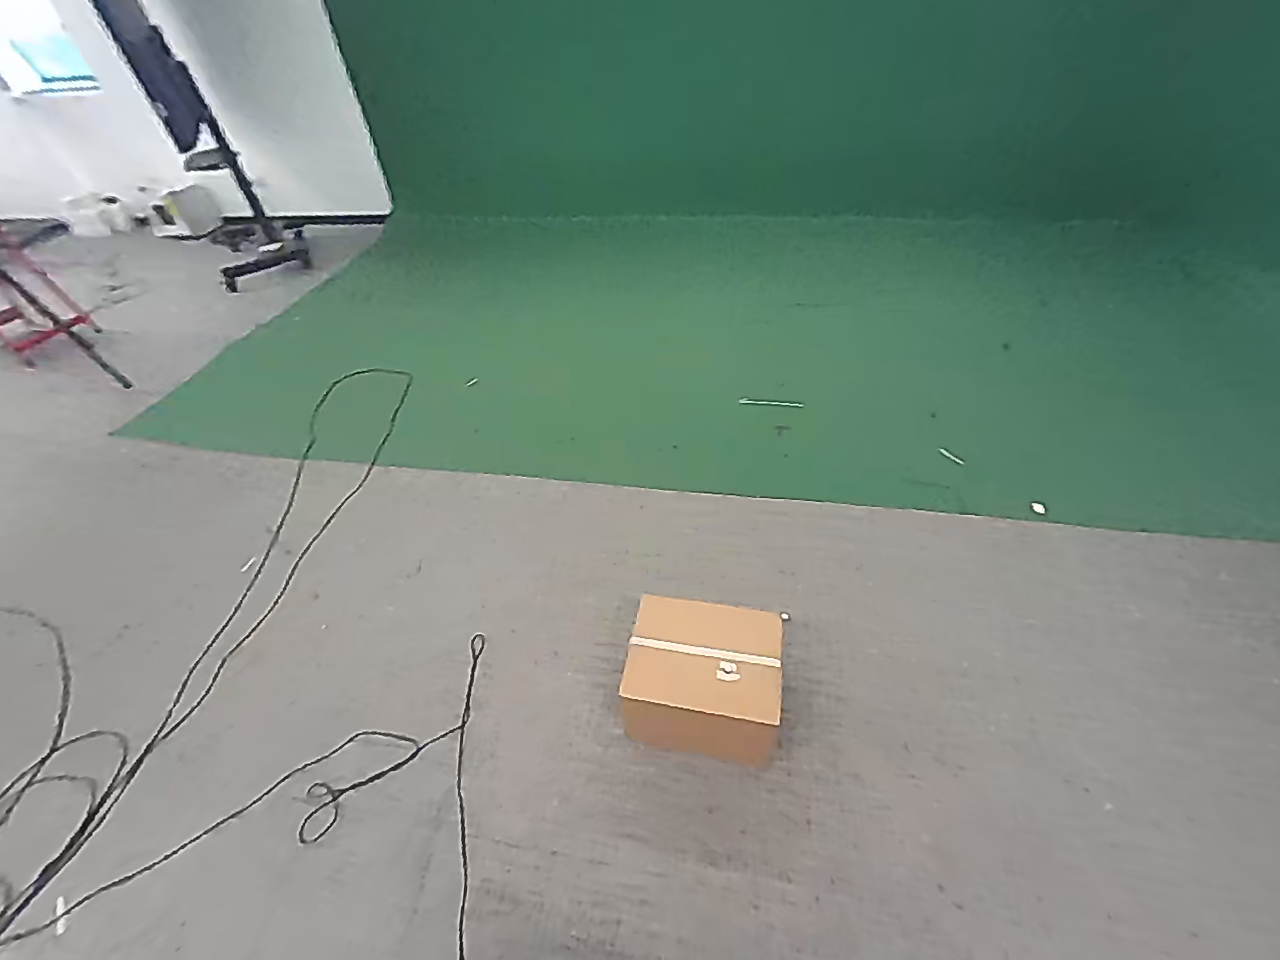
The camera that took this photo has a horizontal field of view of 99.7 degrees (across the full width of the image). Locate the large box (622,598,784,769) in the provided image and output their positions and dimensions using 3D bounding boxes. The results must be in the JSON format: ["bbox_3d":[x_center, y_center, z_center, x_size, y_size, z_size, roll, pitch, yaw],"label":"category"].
[{"bbox_3d":[0.182,0.575,1.540,0.408,0.320,0.320,6,45,11],"label":"large box"}]
